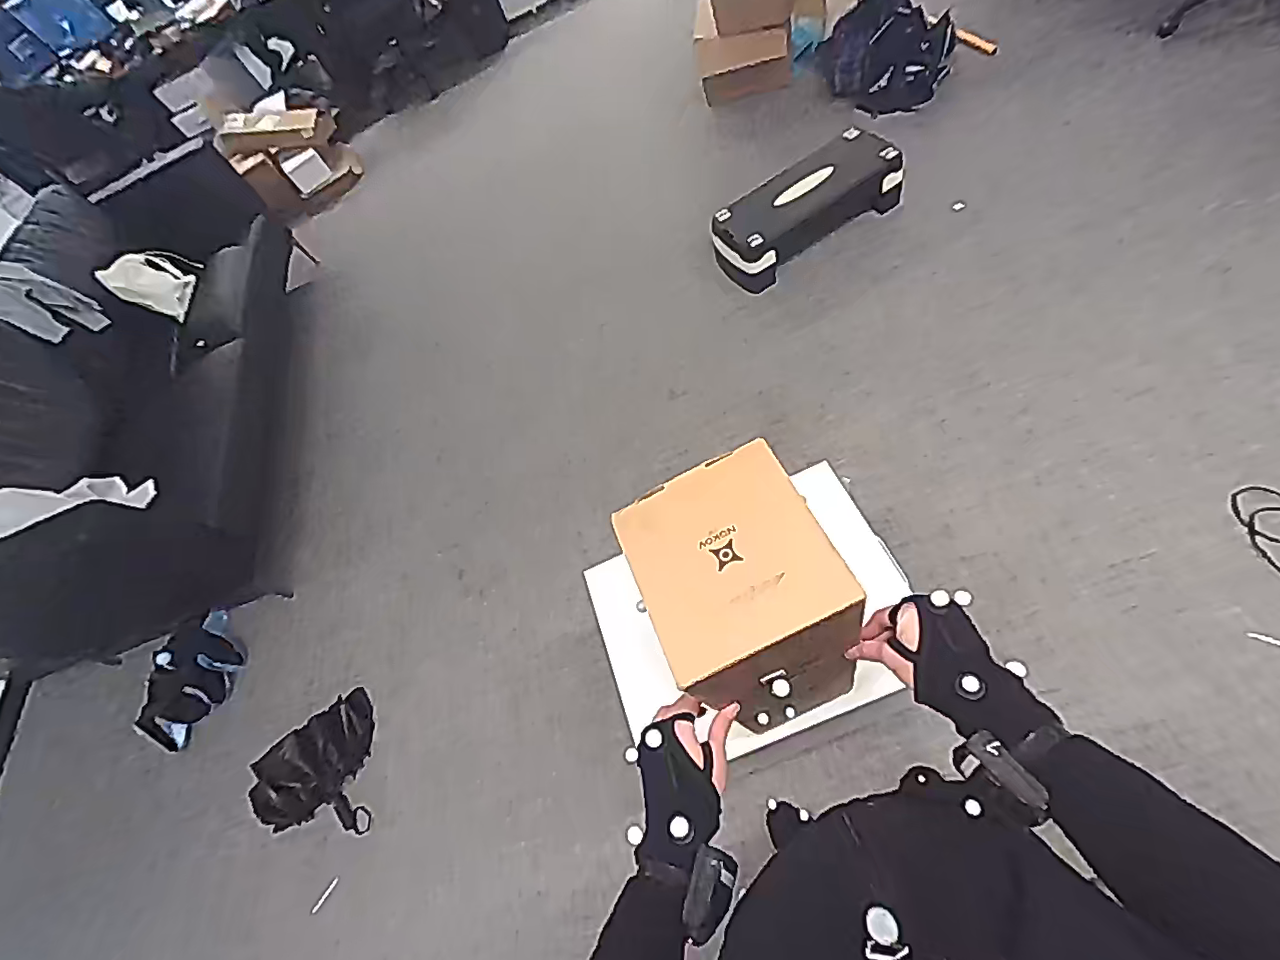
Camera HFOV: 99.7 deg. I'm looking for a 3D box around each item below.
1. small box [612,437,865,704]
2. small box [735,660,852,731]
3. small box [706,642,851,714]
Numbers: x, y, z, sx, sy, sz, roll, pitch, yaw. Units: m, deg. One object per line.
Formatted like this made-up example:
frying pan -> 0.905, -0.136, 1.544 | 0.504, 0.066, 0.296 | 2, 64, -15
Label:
small box -> 0.096, 0.097, 0.534 | 0.168, 0.176, 0.179 | -28, 56, 4
small box -> 0.194, 0.251, 0.808 | 0.168, 0.176, 0.179 | -28, 56, 3
small box -> 0.143, 0.173, 0.671 | 0.168, 0.176, 0.179 | -27, 55, 3
